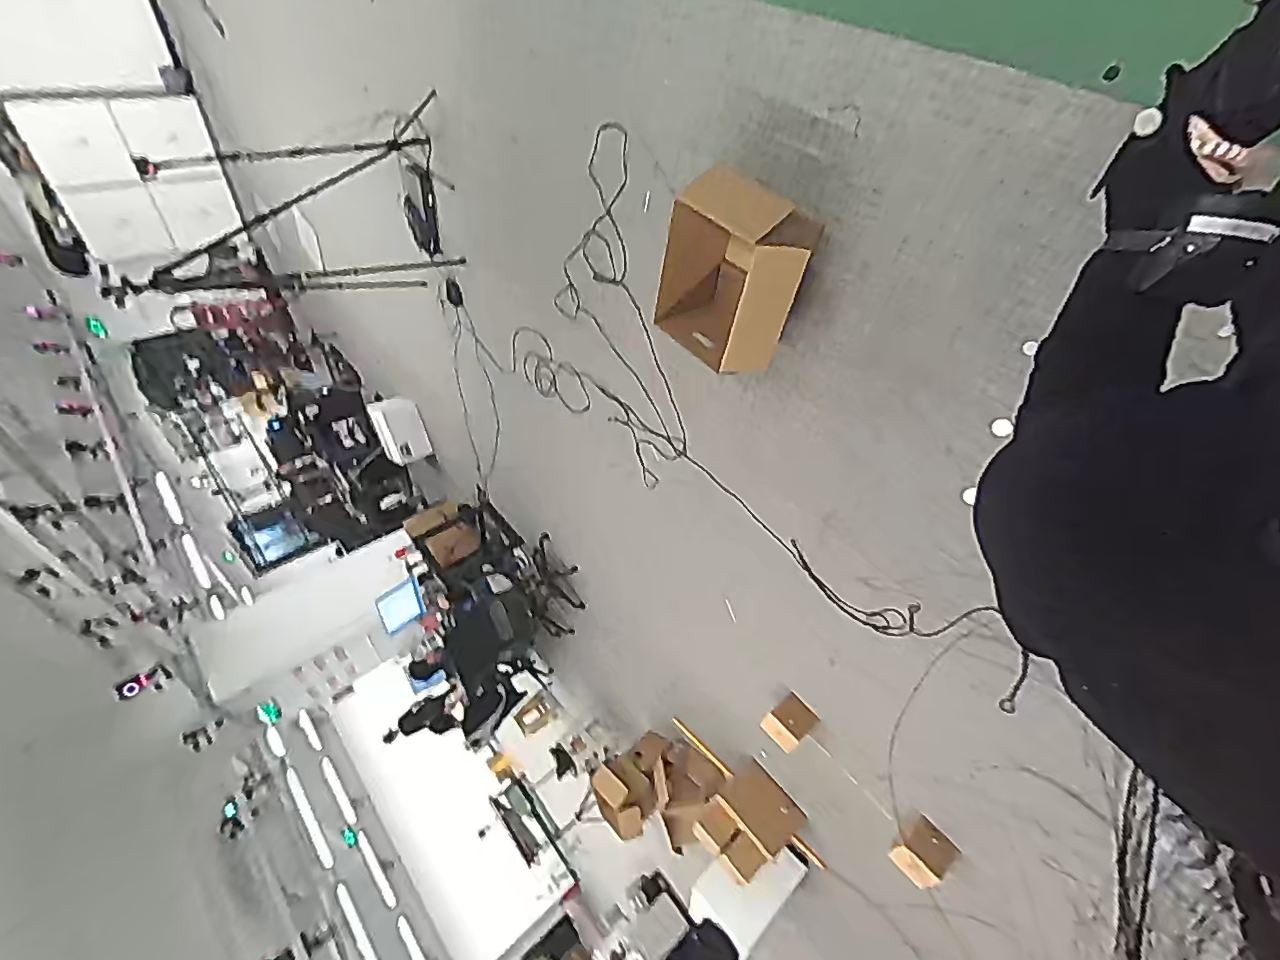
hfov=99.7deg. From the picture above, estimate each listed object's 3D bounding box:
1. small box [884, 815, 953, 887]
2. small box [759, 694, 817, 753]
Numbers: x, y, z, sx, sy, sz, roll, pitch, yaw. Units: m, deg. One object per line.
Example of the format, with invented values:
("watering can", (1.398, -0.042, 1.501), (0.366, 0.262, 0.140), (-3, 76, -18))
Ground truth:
("small box", (1.161, 1.542, 2.248), (0.168, 0.176, 0.179), (41, 143, 27))
("small box", (0.703, 1.148, 2.573), (0.179, 0.176, 0.168), (41, 142, 27))
